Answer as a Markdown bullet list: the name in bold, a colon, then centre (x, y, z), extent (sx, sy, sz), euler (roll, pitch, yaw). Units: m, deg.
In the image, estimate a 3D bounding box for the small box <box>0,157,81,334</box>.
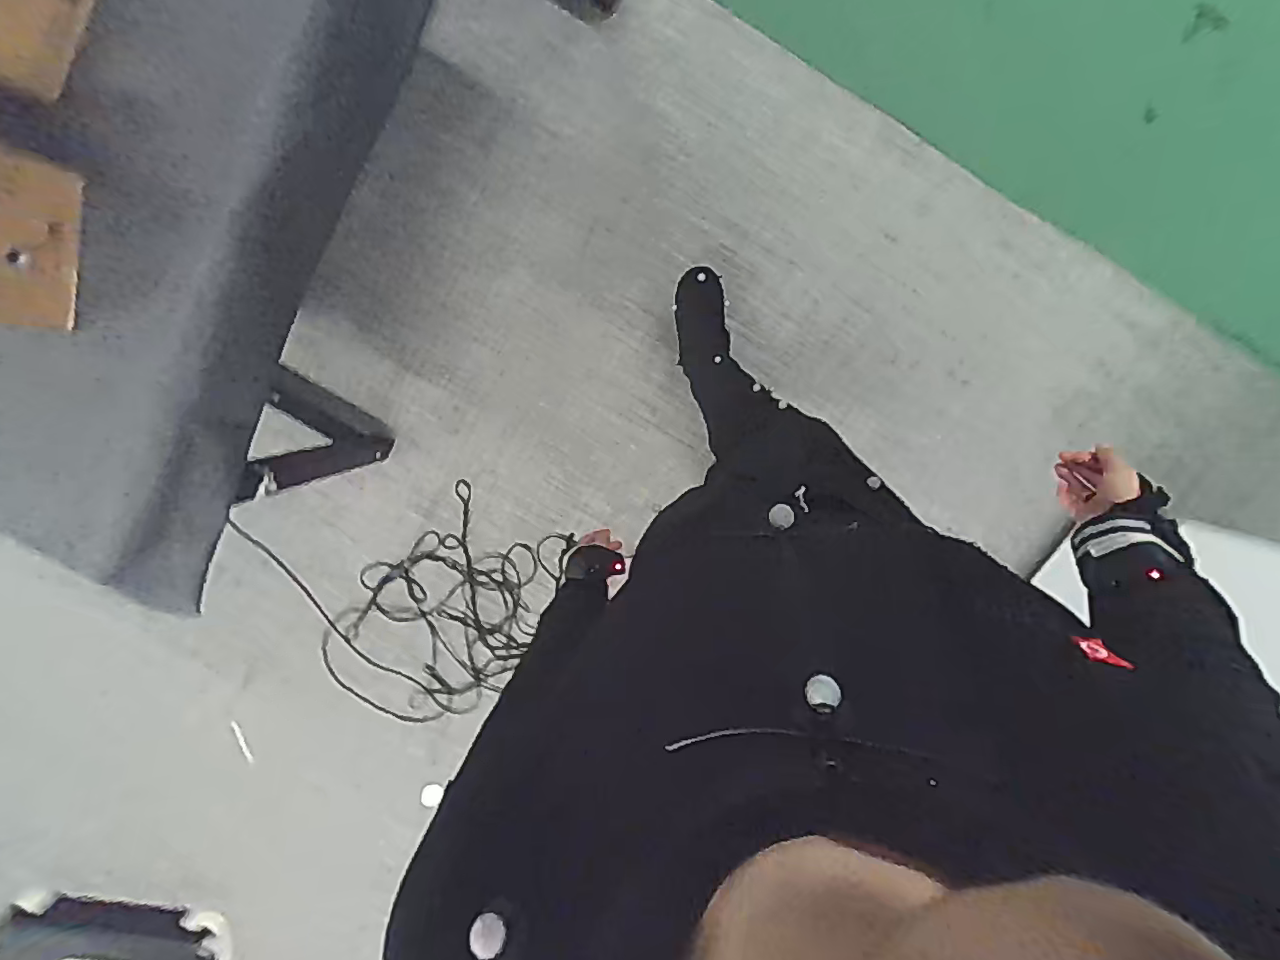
- **small box**: centre (-0.691, -0.239, 0.497), extent (0.179, 0.176, 0.168), euler (15, 100, 0)
